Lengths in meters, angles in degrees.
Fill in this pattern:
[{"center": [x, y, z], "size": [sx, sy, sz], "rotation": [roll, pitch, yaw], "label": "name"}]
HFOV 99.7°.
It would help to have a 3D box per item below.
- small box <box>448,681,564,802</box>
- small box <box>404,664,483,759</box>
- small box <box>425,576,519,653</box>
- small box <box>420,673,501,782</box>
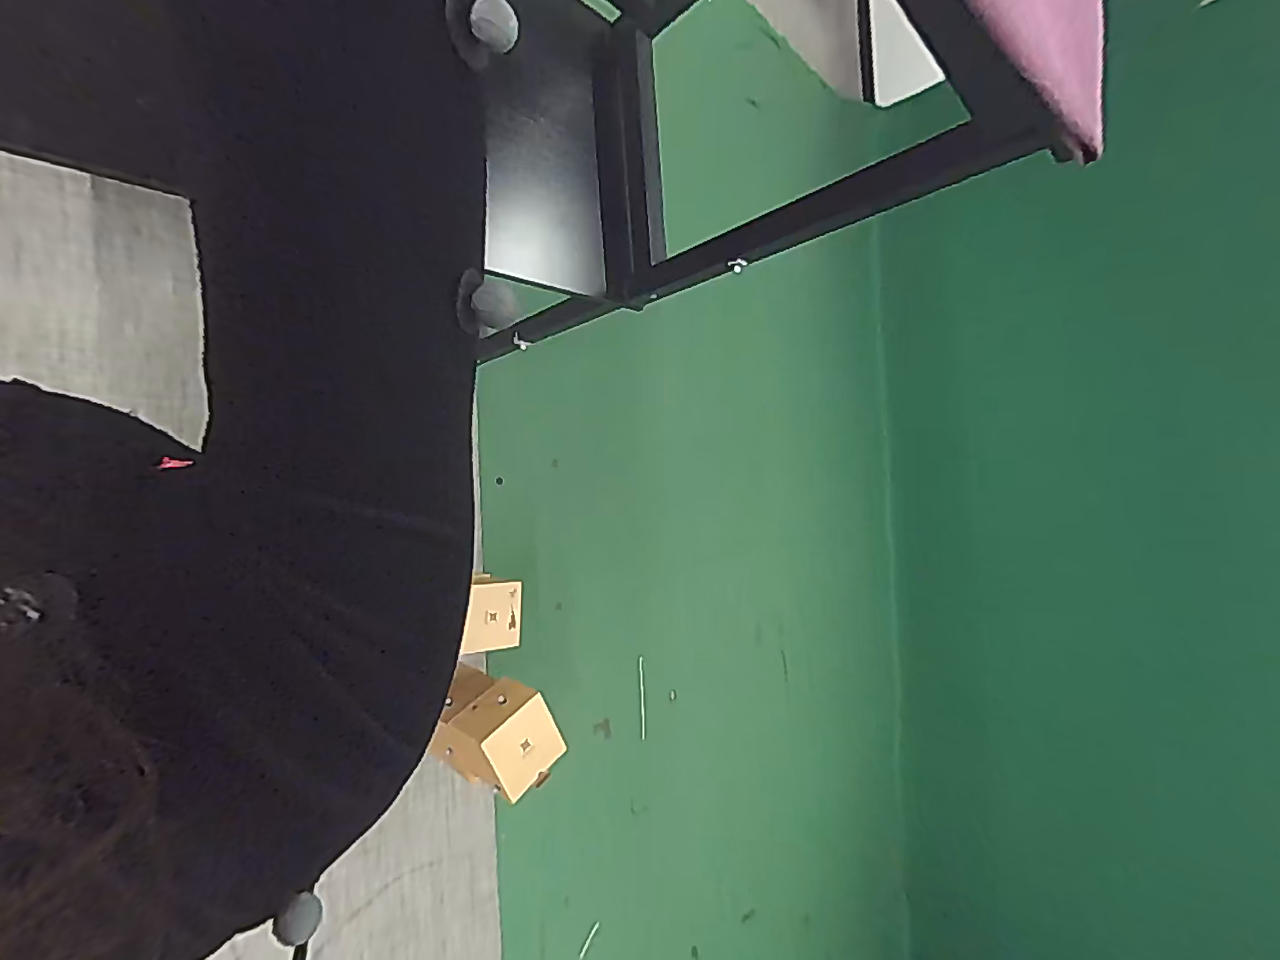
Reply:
[{"center": [-0.315, 0.594, 1.260], "size": [0.168, 0.176, 0.179], "rotation": [-34, 112, -38], "label": "small box"}, {"center": [-0.535, 0.627, 1.498], "size": [0.168, 0.176, 0.179], "rotation": [-12, 97, -43], "label": "small box"}, {"center": [-0.432, 0.336, 1.382], "size": [0.179, 0.176, 0.168], "rotation": [7, 83, -44], "label": "small box"}, {"center": [-0.430, 0.615, 1.375], "size": [0.168, 0.176, 0.179], "rotation": [-28, 108, -39], "label": "small box"}]
